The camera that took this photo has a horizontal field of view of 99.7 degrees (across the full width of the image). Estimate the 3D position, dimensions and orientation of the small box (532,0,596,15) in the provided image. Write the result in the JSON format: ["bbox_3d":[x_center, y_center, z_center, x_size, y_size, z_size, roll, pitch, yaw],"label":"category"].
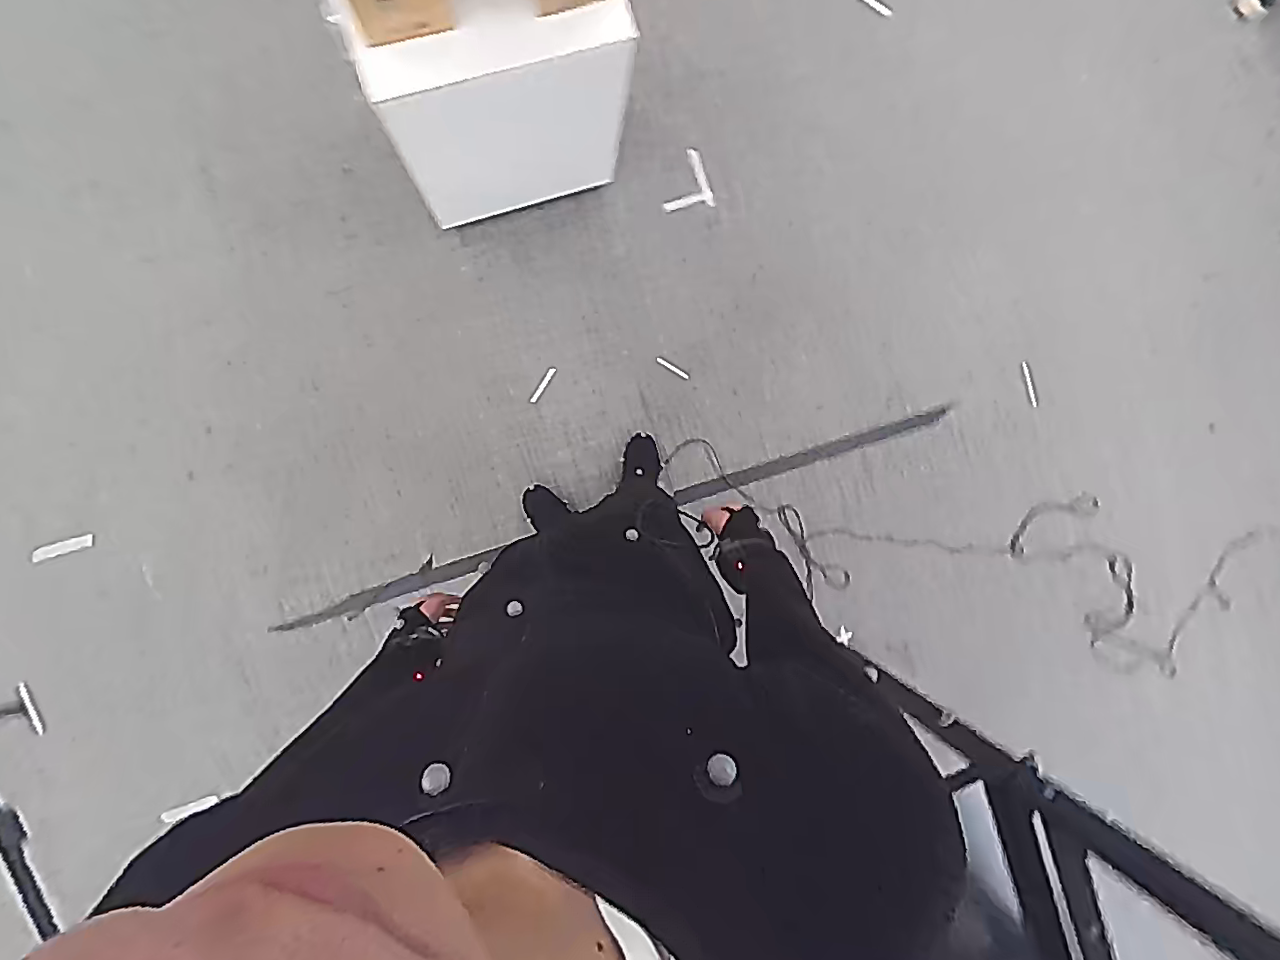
[{"bbox_3d":[-0.135,-0.957,0.915,0.168,0.176,0.179,-22,95,-5],"label":"small box"}]

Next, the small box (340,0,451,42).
[{"bbox_3d":[-0.428,-0.866,0.883,0.168,0.176,0.179,-19,94,-7],"label":"small box"}]
